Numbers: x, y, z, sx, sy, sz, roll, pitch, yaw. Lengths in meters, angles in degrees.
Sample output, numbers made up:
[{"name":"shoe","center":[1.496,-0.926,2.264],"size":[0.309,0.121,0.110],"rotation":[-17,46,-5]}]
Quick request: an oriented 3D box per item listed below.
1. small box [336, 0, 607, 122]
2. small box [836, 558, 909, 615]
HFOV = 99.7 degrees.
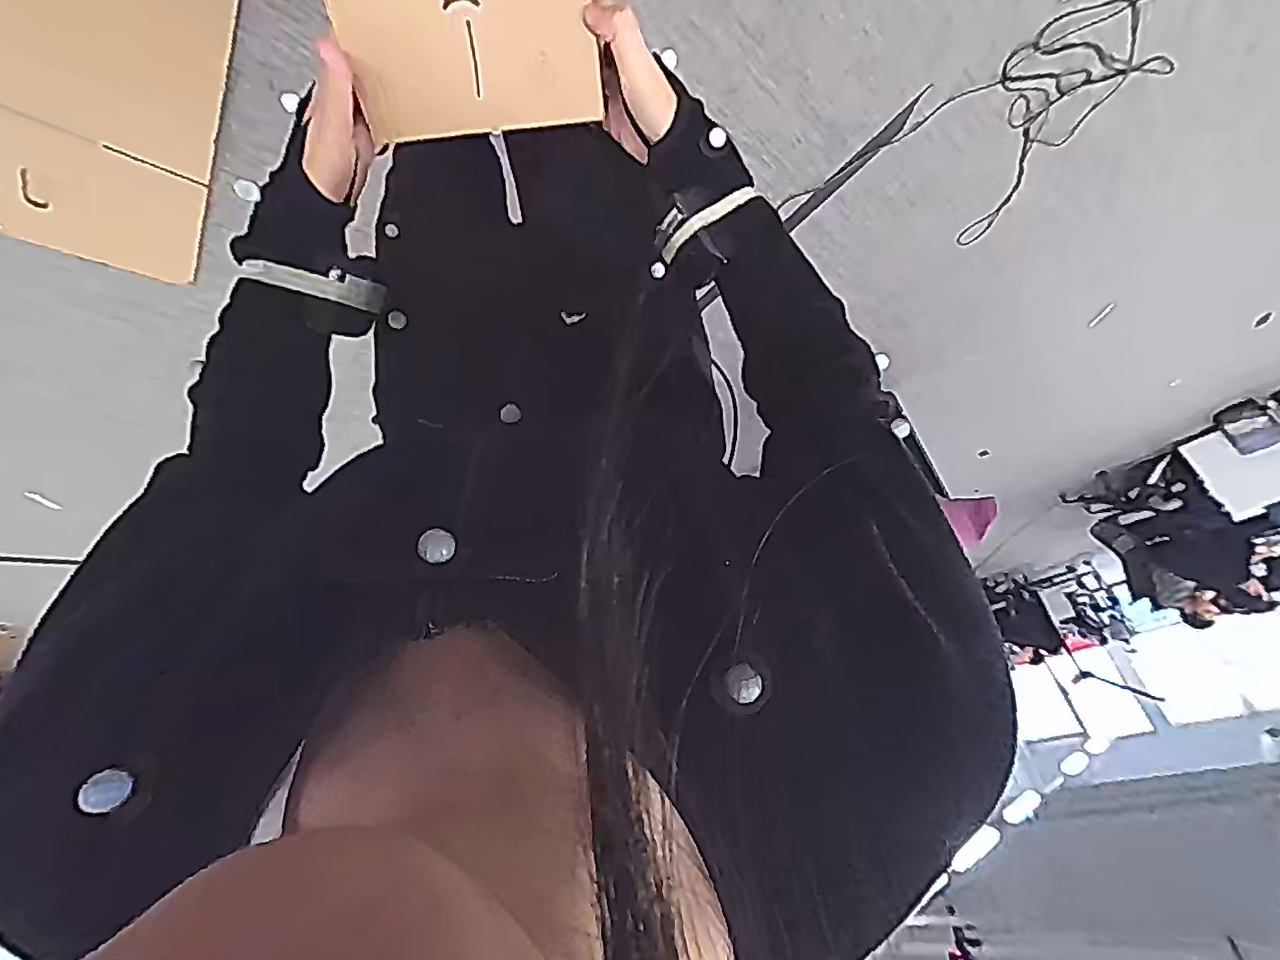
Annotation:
[{"name":"small box","center":[-0.121,-0.375,0.381],"size":[0.168,0.176,0.179],"rotation":[-9,133,-3]},{"name":"small box","center":[0.872,0.402,2.040],"size":[0.179,0.176,0.168],"rotation":[11,143,-41]}]
